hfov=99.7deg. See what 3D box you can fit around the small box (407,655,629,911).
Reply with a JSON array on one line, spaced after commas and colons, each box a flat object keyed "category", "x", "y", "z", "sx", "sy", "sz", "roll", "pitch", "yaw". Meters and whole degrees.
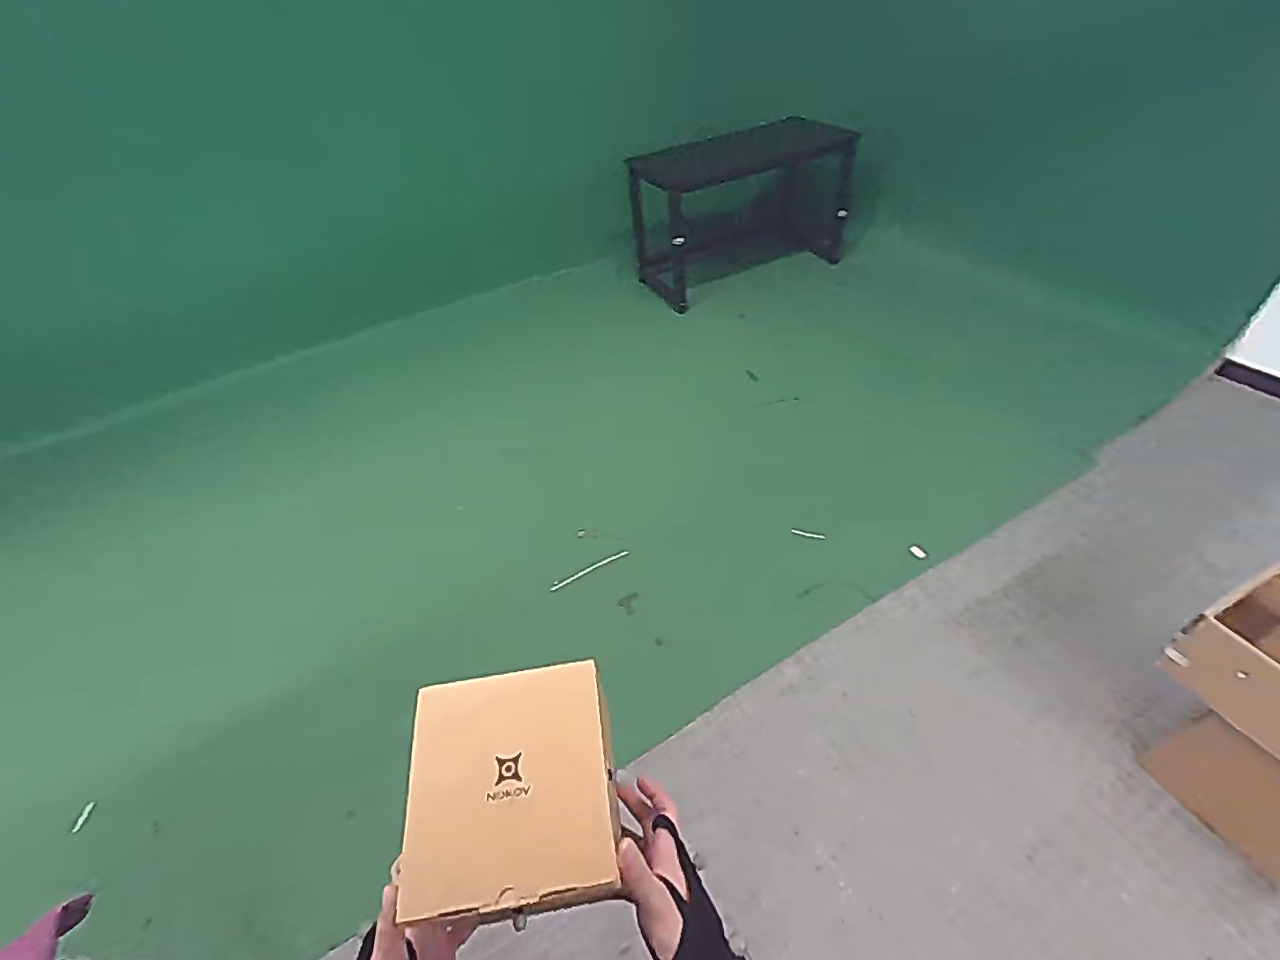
[{"category": "small box", "x": -0.103, "y": 0.292, "z": 0.519, "sx": 0.168, "sy": 0.176, "sz": 0.179, "roll": -8, "pitch": 53, "yaw": -4}]
